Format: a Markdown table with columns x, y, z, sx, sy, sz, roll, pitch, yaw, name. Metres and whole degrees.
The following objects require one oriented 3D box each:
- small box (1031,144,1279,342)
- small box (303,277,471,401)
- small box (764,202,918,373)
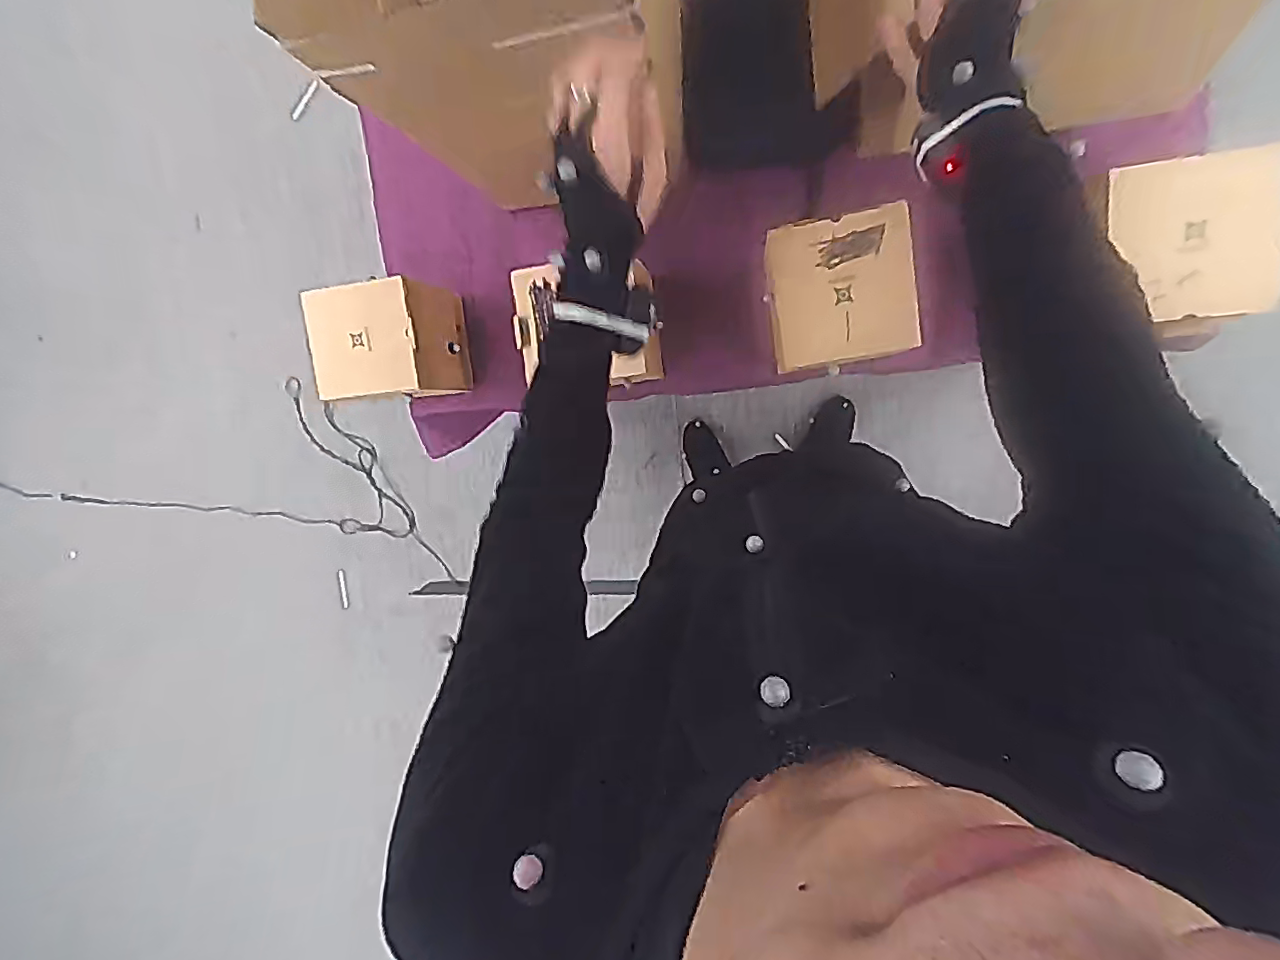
| x | y | z | sx | sy | sz | roll | pitch | yaw | name |
| --- | --- | --- | --- | --- | --- | --- | --- | --- | --- |
| 0.616 | -0.275 | 0.670 | 0.168 | 0.176 | 0.179 | -3 | 98 | 13 | small box |
| -0.403 | -0.219 | 0.886 | 0.179 | 0.176 | 0.168 | -5 | 98 | 11 | small box |
| 0.265 | -0.250 | 0.747 | 0.168 | 0.176 | 0.179 | -7 | 98 | 13 | small box |
